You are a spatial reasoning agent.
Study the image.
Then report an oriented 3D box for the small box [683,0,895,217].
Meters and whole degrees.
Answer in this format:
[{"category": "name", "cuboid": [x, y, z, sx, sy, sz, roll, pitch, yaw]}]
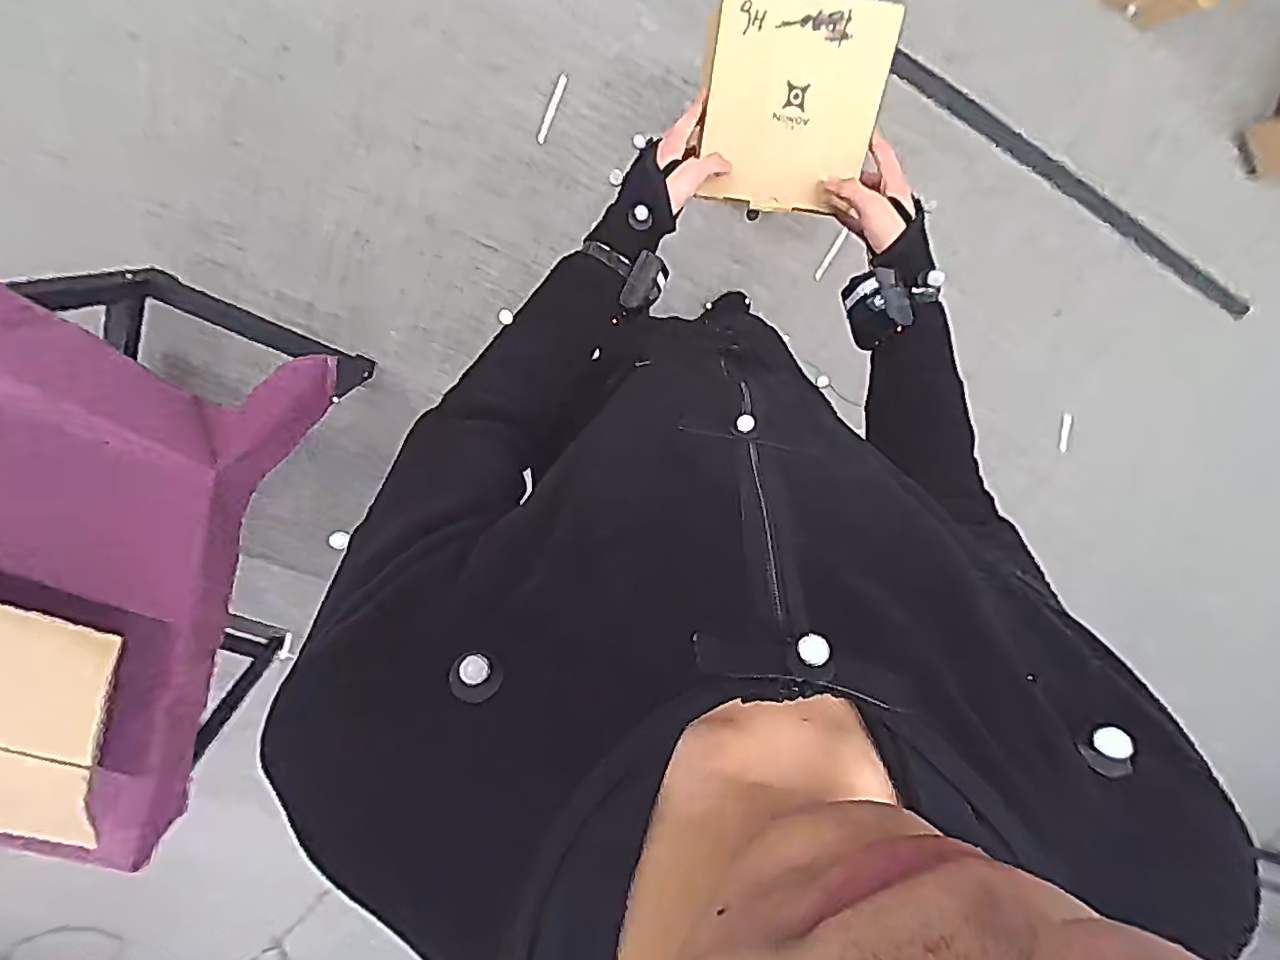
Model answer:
[{"category": "small box", "cuboid": [0.142, -0.401, 0.595, 0.168, 0.176, 0.179, 6, 119, -3]}]
